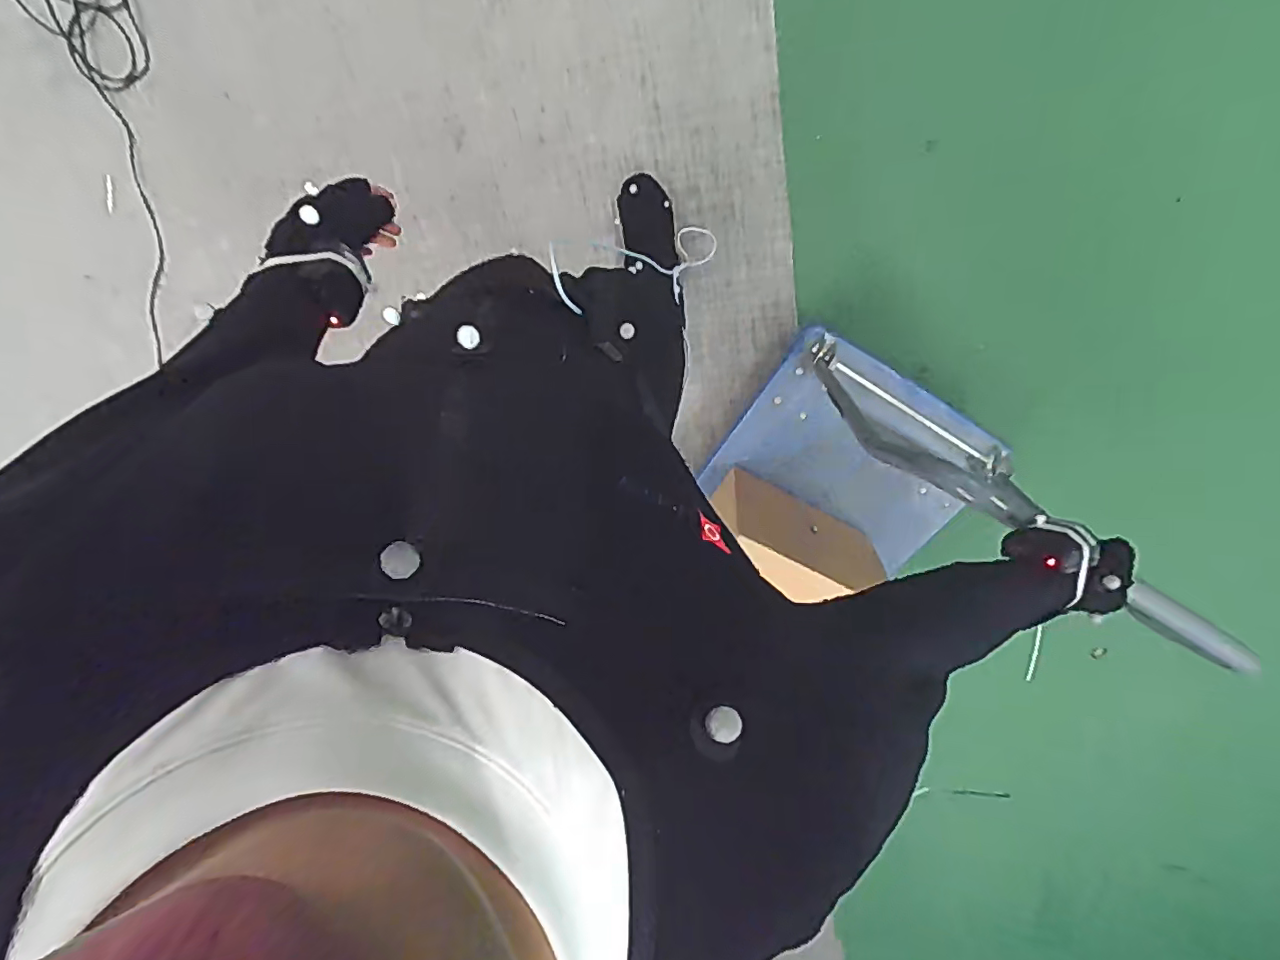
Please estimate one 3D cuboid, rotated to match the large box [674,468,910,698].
[{"bbox_3d":[0.326,0.233,1.279,0.408,0.320,0.320,26,119,-7],"label":"large box"}]
